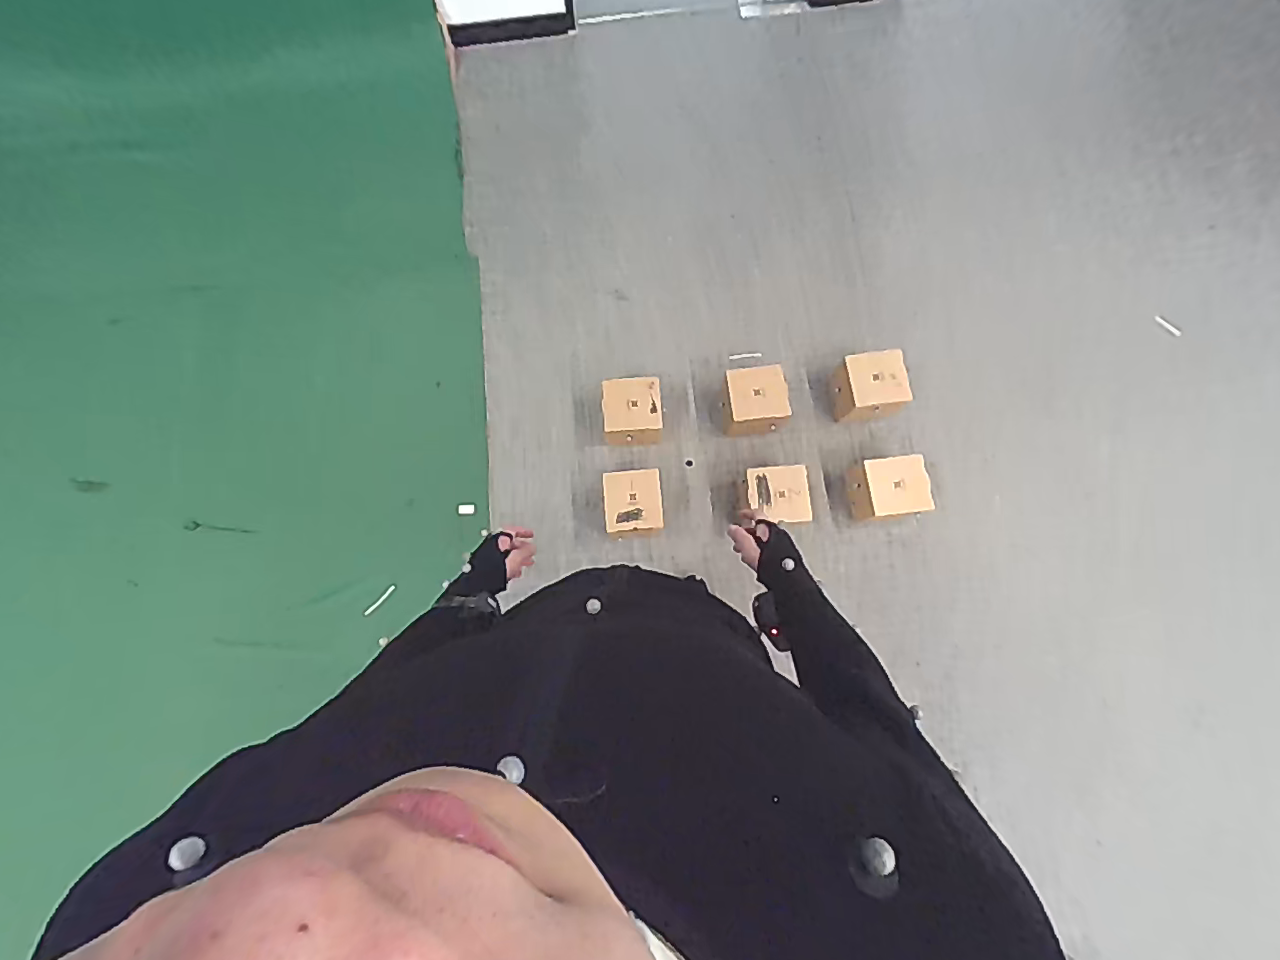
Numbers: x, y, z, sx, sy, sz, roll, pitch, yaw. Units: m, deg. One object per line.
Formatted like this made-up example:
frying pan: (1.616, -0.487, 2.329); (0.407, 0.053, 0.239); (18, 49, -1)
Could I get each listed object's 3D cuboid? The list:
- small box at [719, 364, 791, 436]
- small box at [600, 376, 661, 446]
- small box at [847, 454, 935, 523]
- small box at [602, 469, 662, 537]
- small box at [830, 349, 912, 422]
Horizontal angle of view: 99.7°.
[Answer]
small box: (0.351, -0.242, 1.674); (0.179, 0.176, 0.168); (-6, 77, 0)
small box: (-0.025, -0.208, 1.672); (0.179, 0.176, 0.168); (-3, 78, 1)
small box: (0.735, 0.030, 1.611); (0.179, 0.176, 0.168); (-7, 77, -2)
small box: (-0.022, 0.074, 1.609); (0.168, 0.176, 0.179); (-5, 77, -1)
small box: (0.706, -0.287, 1.678); (0.179, 0.176, 0.168); (-7, 78, -1)
